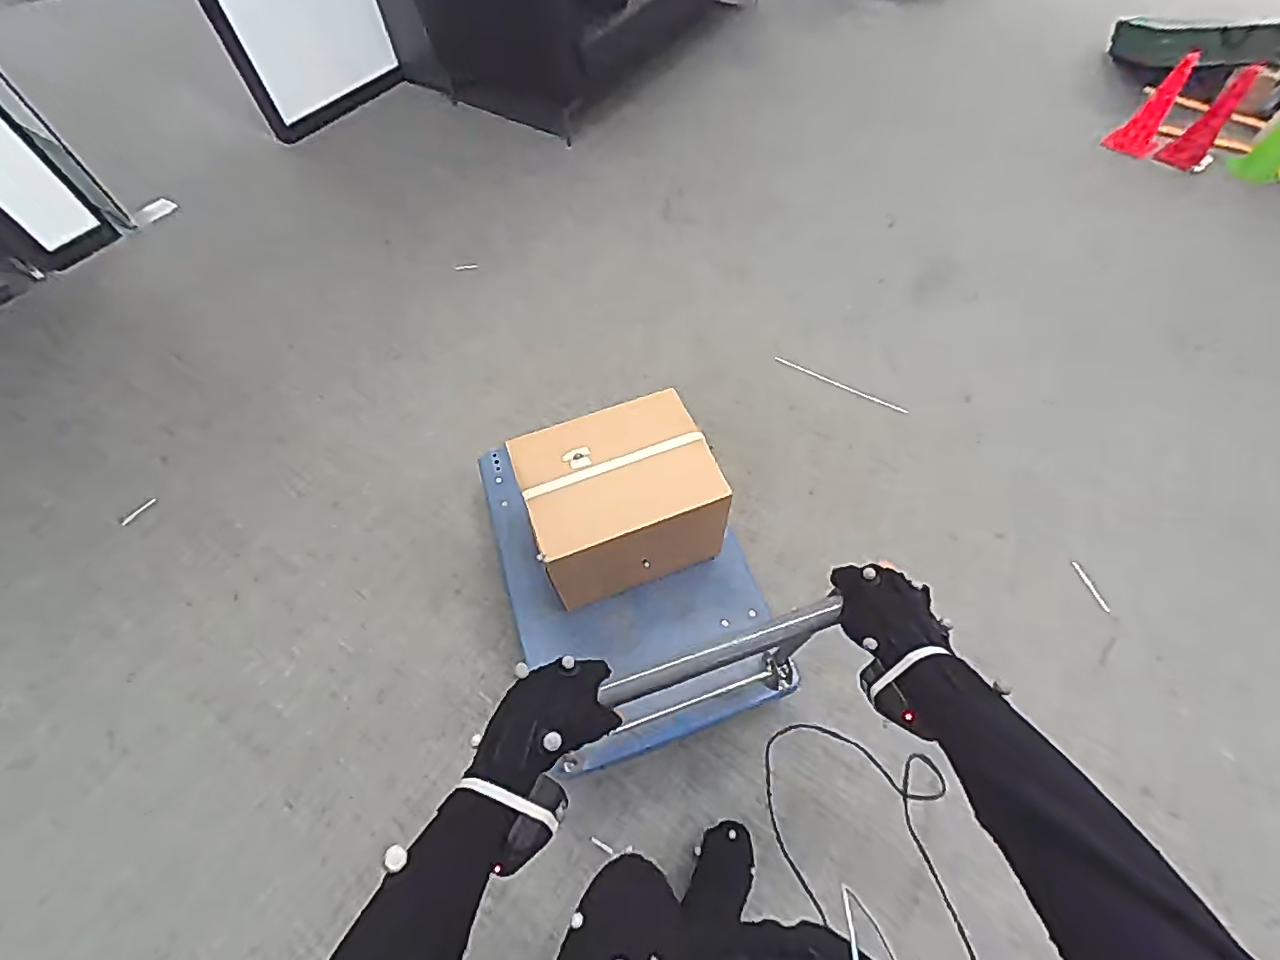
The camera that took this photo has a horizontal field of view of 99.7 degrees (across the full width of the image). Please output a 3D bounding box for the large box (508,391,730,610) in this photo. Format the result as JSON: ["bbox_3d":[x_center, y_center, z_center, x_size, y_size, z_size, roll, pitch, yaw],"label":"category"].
[{"bbox_3d":[-0.045,0.055,1.274,0.408,0.320,0.320,-20,59,-9],"label":"large box"}]
